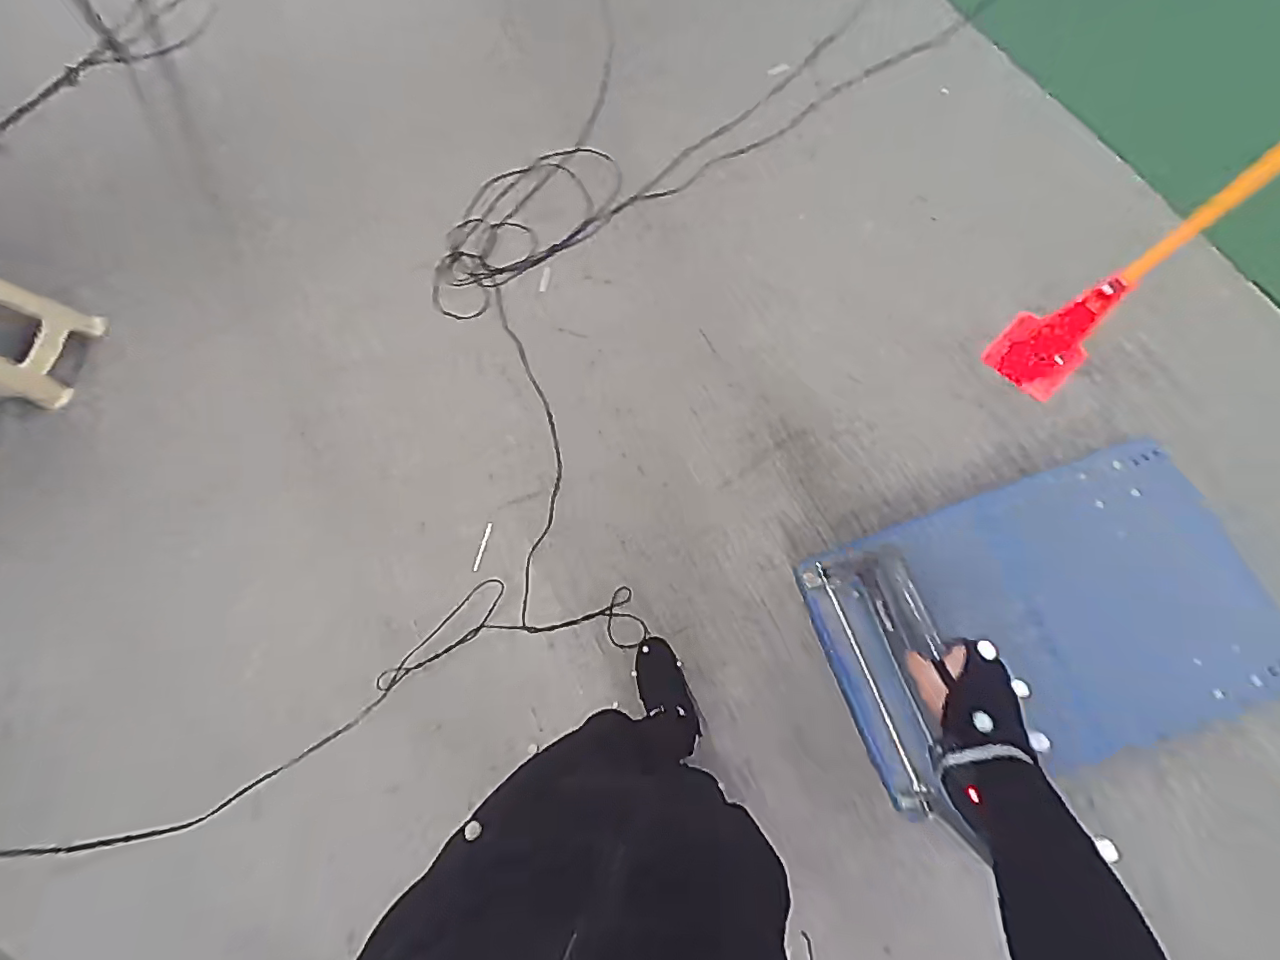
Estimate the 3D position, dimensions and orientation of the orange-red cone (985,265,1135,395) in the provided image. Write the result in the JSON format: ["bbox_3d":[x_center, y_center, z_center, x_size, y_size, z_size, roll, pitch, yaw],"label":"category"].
[{"bbox_3d":[1.056,-0.395,1.318,0.198,0.360,0.199,-43,73,-5],"label":"orange-red cone"}]
